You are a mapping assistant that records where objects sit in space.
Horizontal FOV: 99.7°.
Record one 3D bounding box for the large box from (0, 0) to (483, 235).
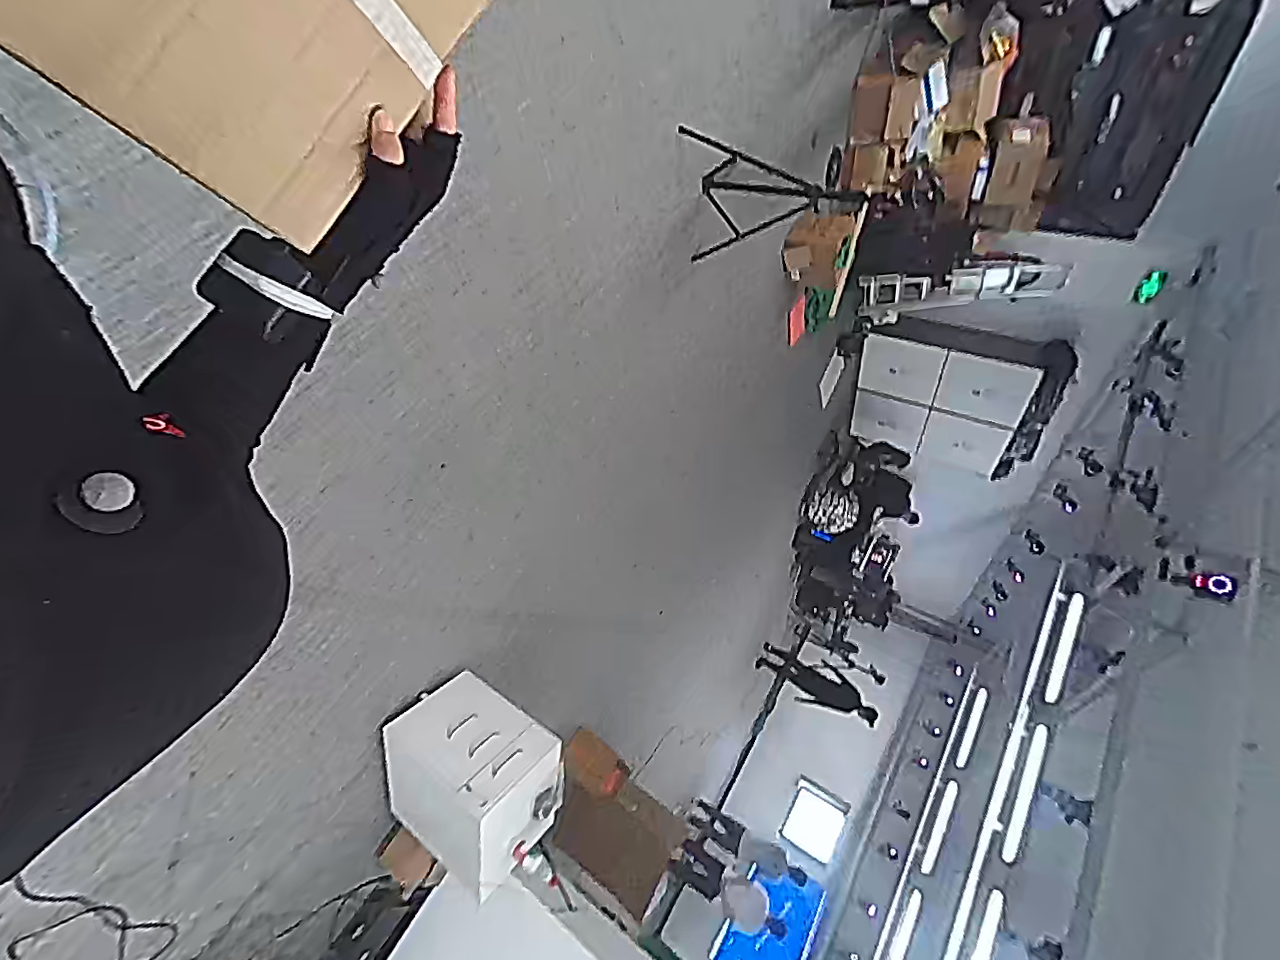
[{"bbox_3d":[-0.344,-0.434,0.309,0.320,0.320,0.408,-53,148,1],"label":"large box"}]
